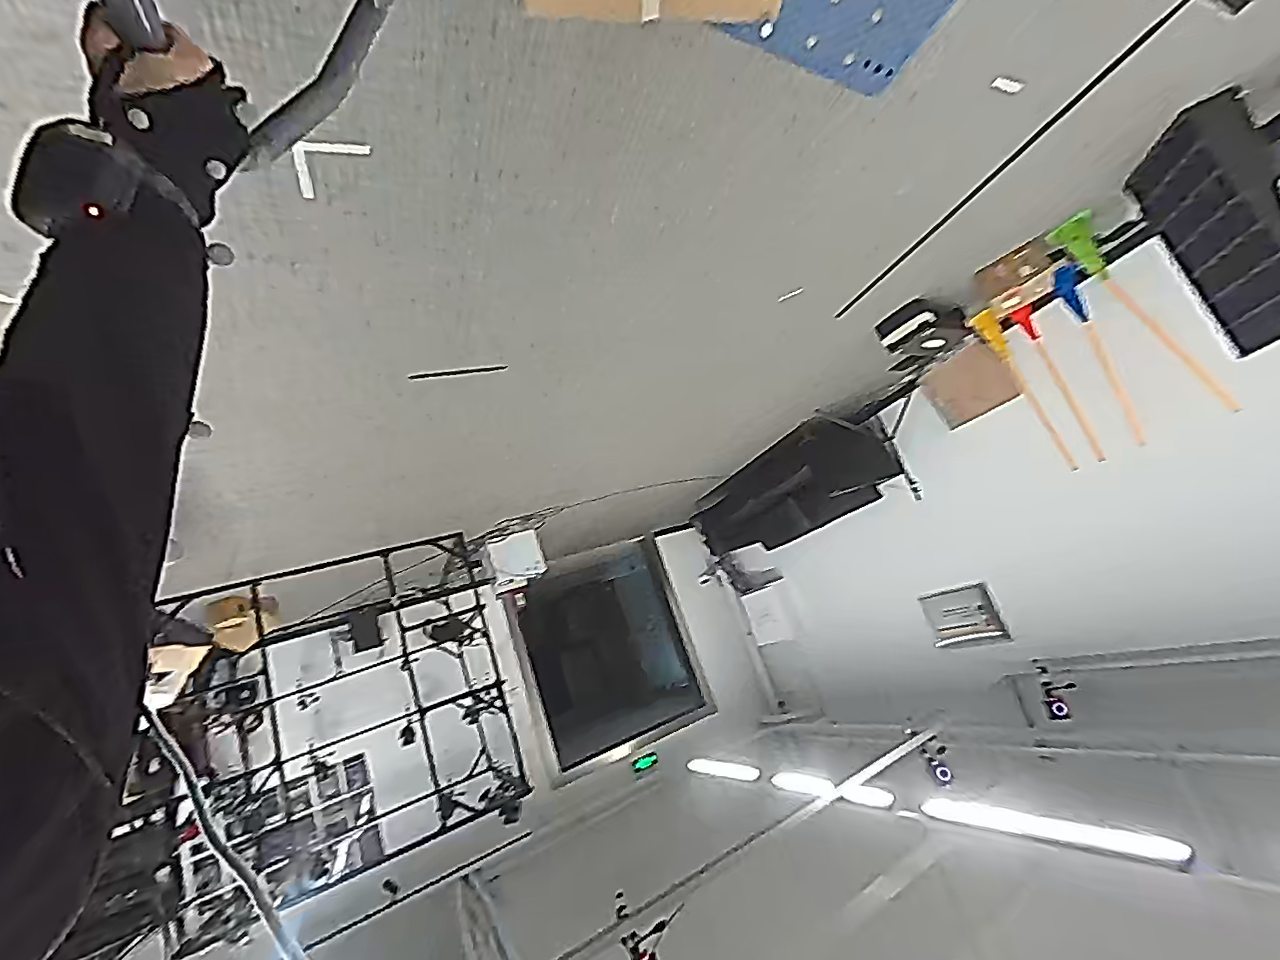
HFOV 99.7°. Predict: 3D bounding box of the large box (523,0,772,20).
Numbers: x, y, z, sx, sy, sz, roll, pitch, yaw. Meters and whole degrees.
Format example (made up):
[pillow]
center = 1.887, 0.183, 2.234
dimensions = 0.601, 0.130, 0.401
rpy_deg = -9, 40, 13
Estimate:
[large box]
center = 0.009, -0.793, 0.548
dimensions = 0.320, 0.320, 0.408
rpy_deg = 2, 158, 0
